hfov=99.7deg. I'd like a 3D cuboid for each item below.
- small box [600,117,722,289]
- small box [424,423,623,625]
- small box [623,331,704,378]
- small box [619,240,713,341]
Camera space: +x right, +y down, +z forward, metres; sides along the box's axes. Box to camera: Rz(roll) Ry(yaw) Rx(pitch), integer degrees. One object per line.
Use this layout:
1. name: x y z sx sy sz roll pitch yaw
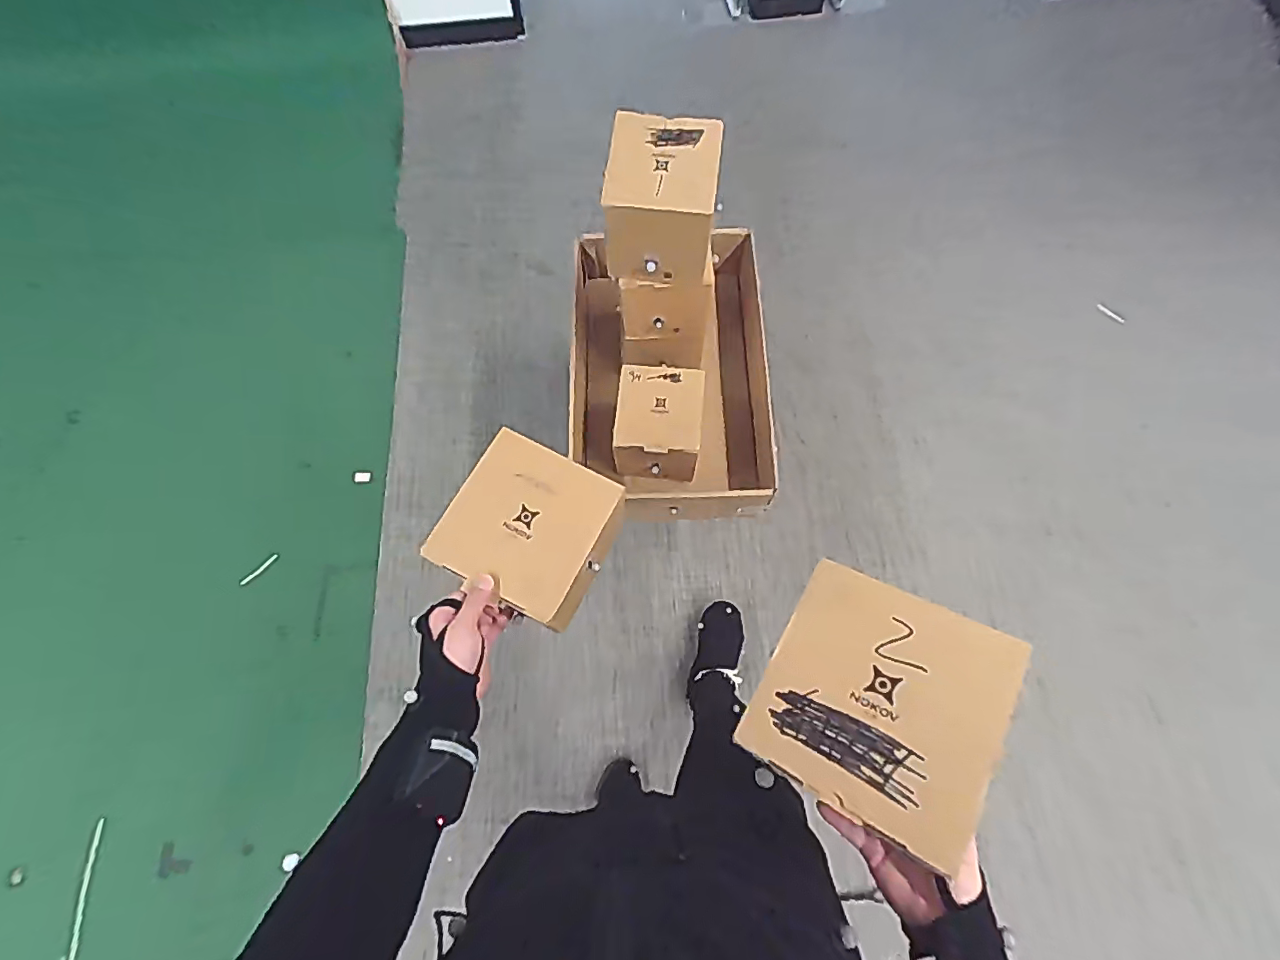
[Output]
1. small box: 0.034 -0.442 0.877 0.168 0.176 0.179 7 74 4
2. small box: -0.130 0.066 0.682 0.168 0.176 0.179 27 71 7
3. small box: 0.048 -0.342 1.188 0.168 0.176 0.179 -2 73 2
4. small box: 0.043 -0.388 1.033 0.168 0.176 0.179 -3 73 1
